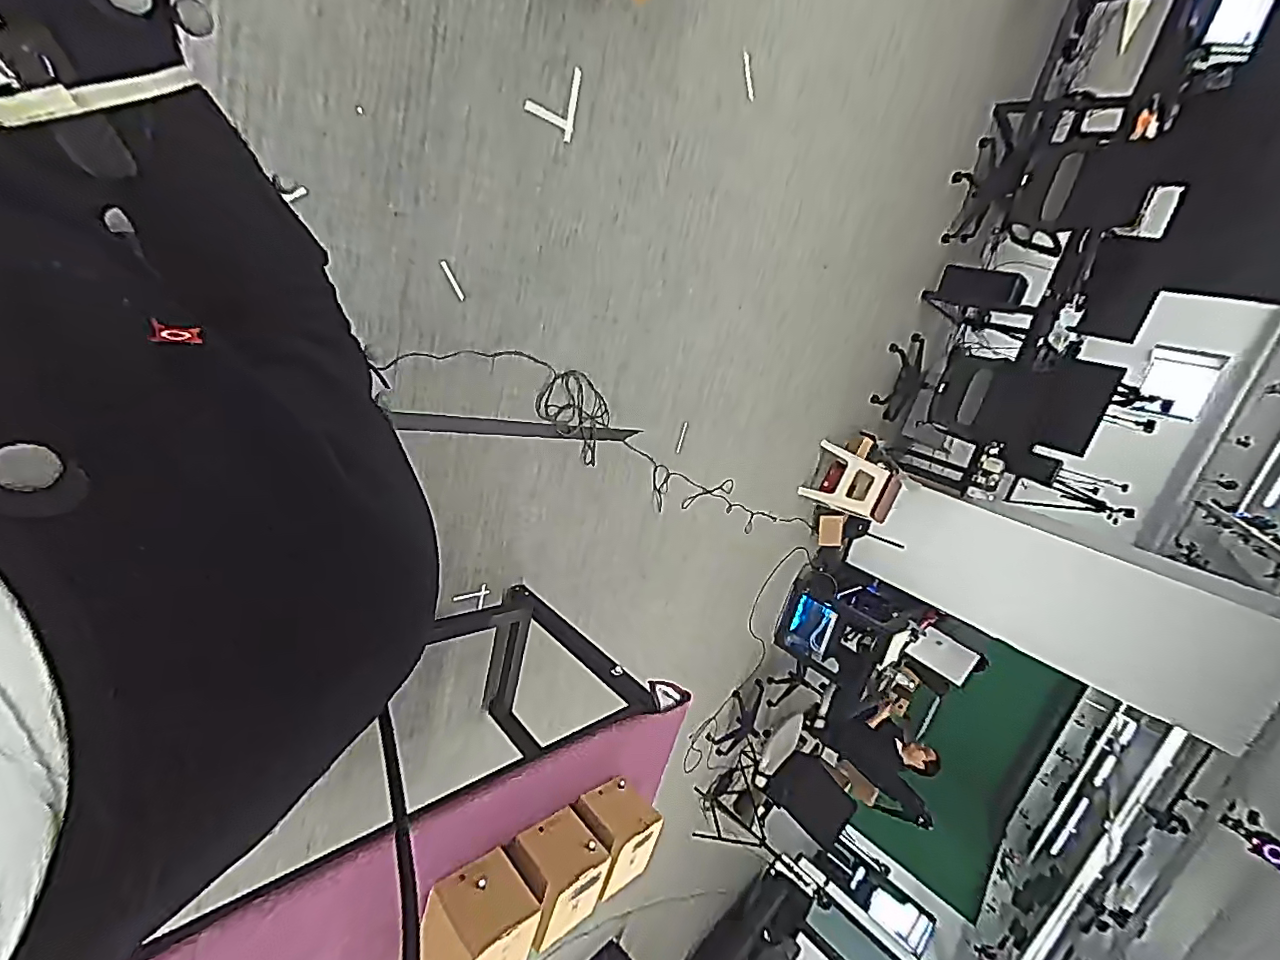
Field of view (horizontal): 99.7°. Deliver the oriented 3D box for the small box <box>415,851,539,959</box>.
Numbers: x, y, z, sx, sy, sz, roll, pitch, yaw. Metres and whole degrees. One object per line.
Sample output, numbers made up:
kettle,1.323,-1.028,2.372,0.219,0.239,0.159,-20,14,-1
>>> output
small box,-0.341,0.928,1.116,0.168,0.176,0.179,1,111,-50
